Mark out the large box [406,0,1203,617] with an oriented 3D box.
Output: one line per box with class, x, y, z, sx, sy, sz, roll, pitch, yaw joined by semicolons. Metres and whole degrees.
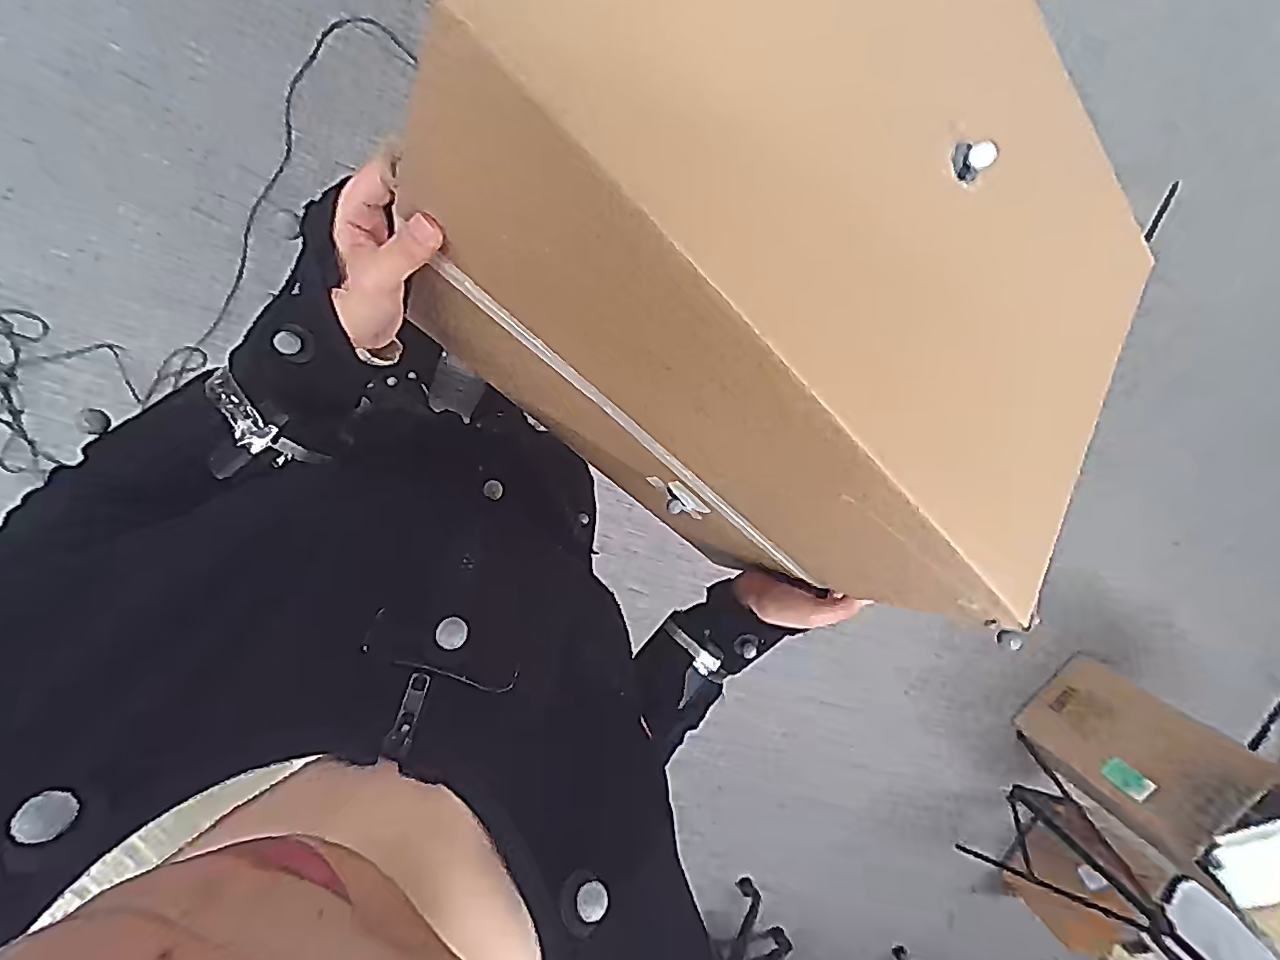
large box;0.108;-0.160;0.393;0.408;0.320;0.320;39;74;-22
